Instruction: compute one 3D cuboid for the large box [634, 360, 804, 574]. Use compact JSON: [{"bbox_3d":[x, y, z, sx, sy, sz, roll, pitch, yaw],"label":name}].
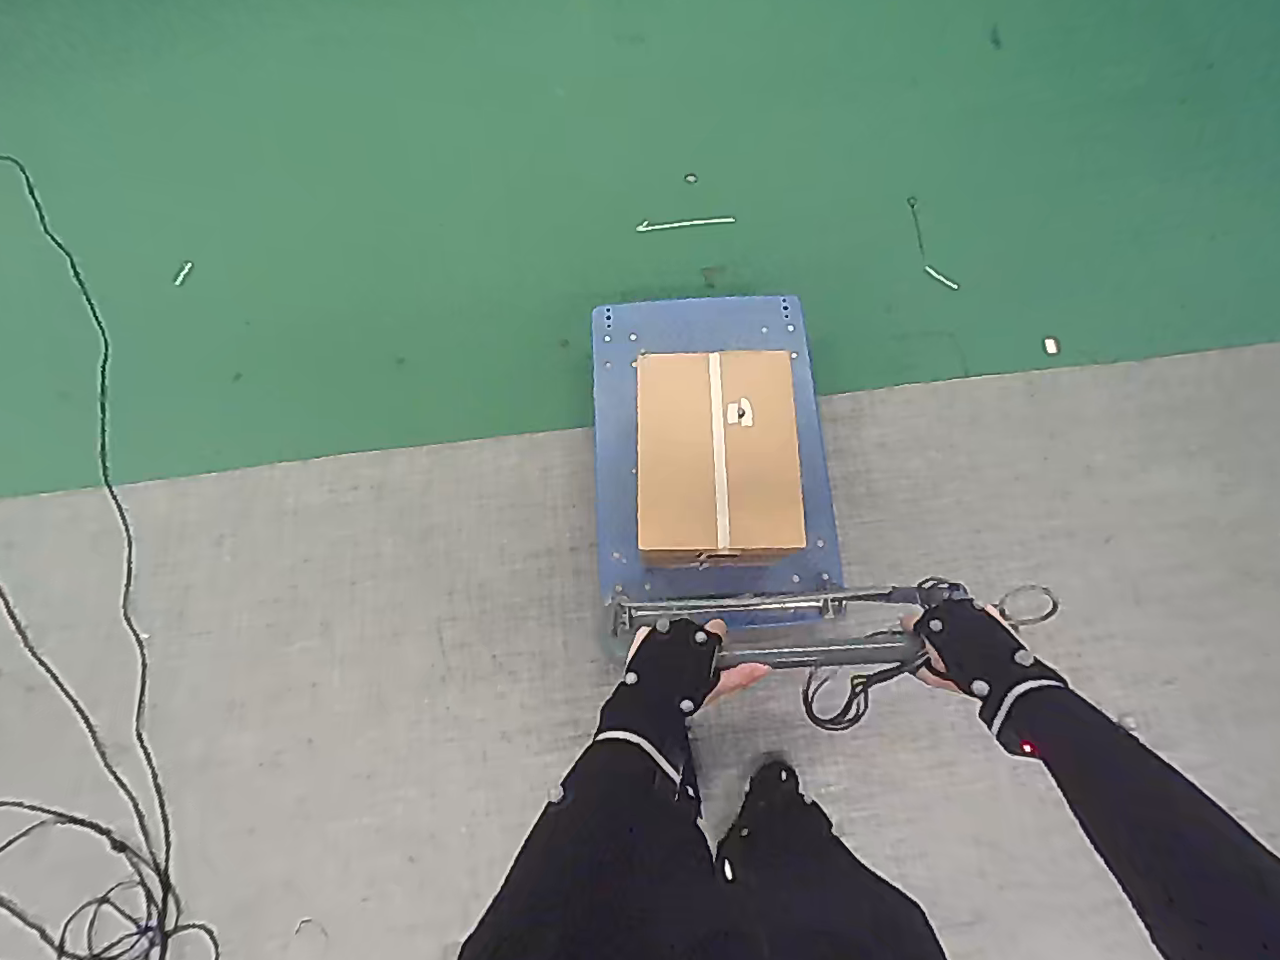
[{"bbox_3d":[0.152,-0.010,1.198,0.320,0.320,0.408,-1,74,1],"label":"large box"}]
